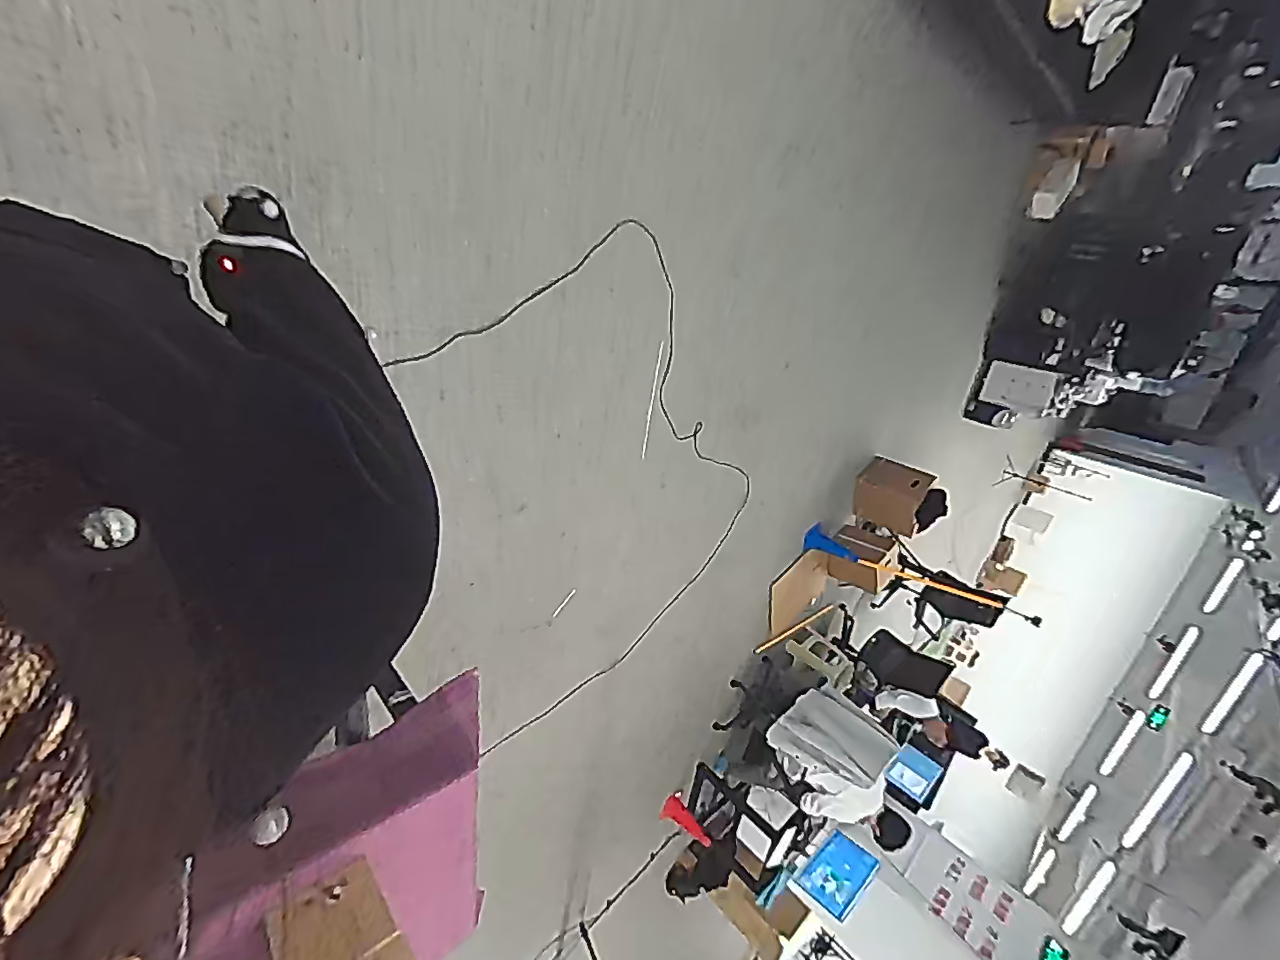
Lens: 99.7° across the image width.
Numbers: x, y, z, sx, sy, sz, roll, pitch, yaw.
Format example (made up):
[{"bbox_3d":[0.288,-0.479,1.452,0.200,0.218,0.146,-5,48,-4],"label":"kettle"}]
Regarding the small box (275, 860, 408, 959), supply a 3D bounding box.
[{"bbox_3d":[-0.530,0.840,0.964,0.168,0.176,0.179,-13,120,-43],"label":"small box"}]
